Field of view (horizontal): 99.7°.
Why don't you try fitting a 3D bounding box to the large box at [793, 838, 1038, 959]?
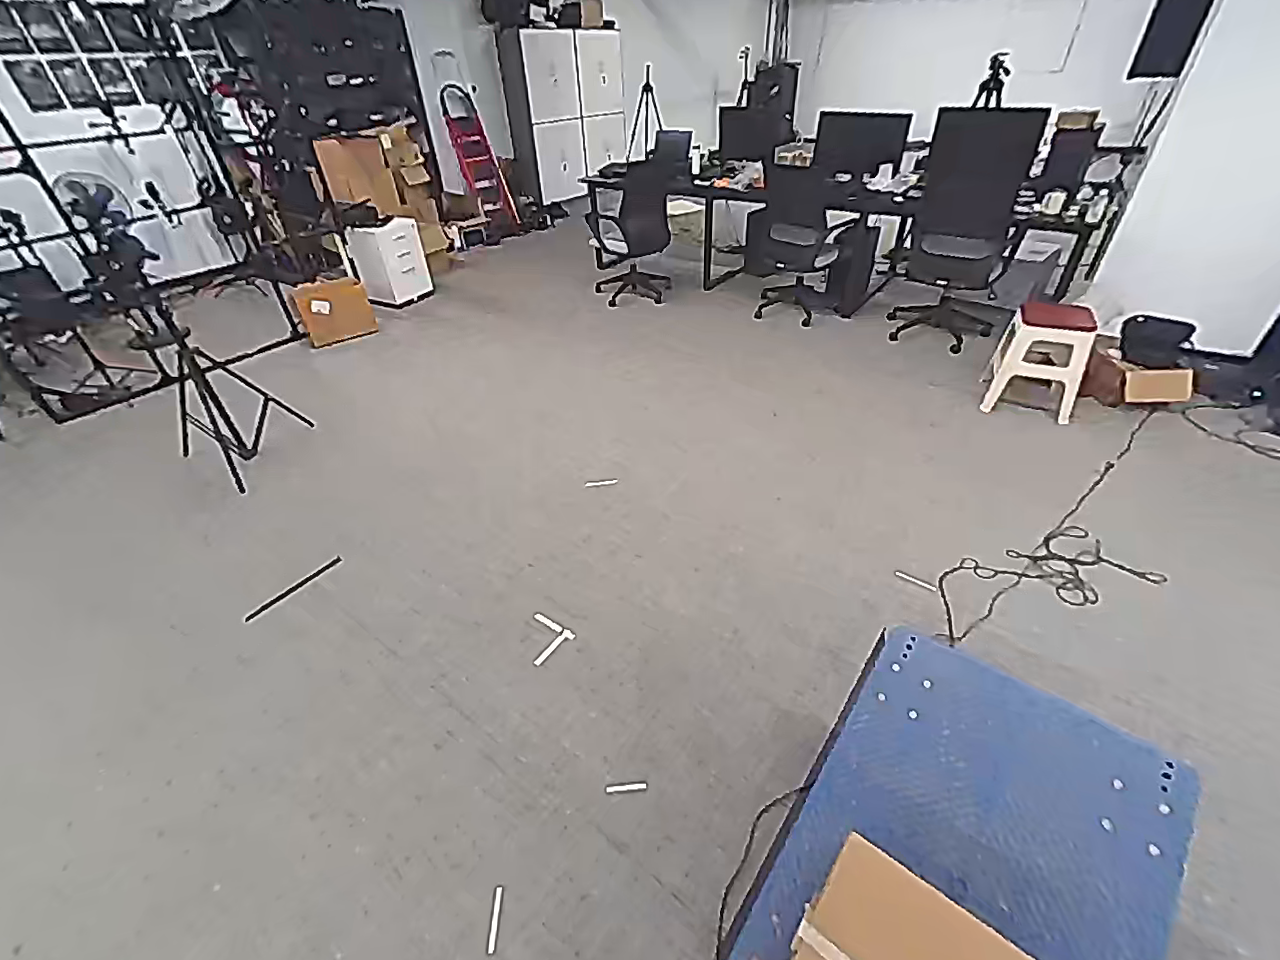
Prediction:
[{"bbox_3d":[0.446,0.841,0.832,0.408,0.320,0.320,24,65,31],"label":"large box"}]
